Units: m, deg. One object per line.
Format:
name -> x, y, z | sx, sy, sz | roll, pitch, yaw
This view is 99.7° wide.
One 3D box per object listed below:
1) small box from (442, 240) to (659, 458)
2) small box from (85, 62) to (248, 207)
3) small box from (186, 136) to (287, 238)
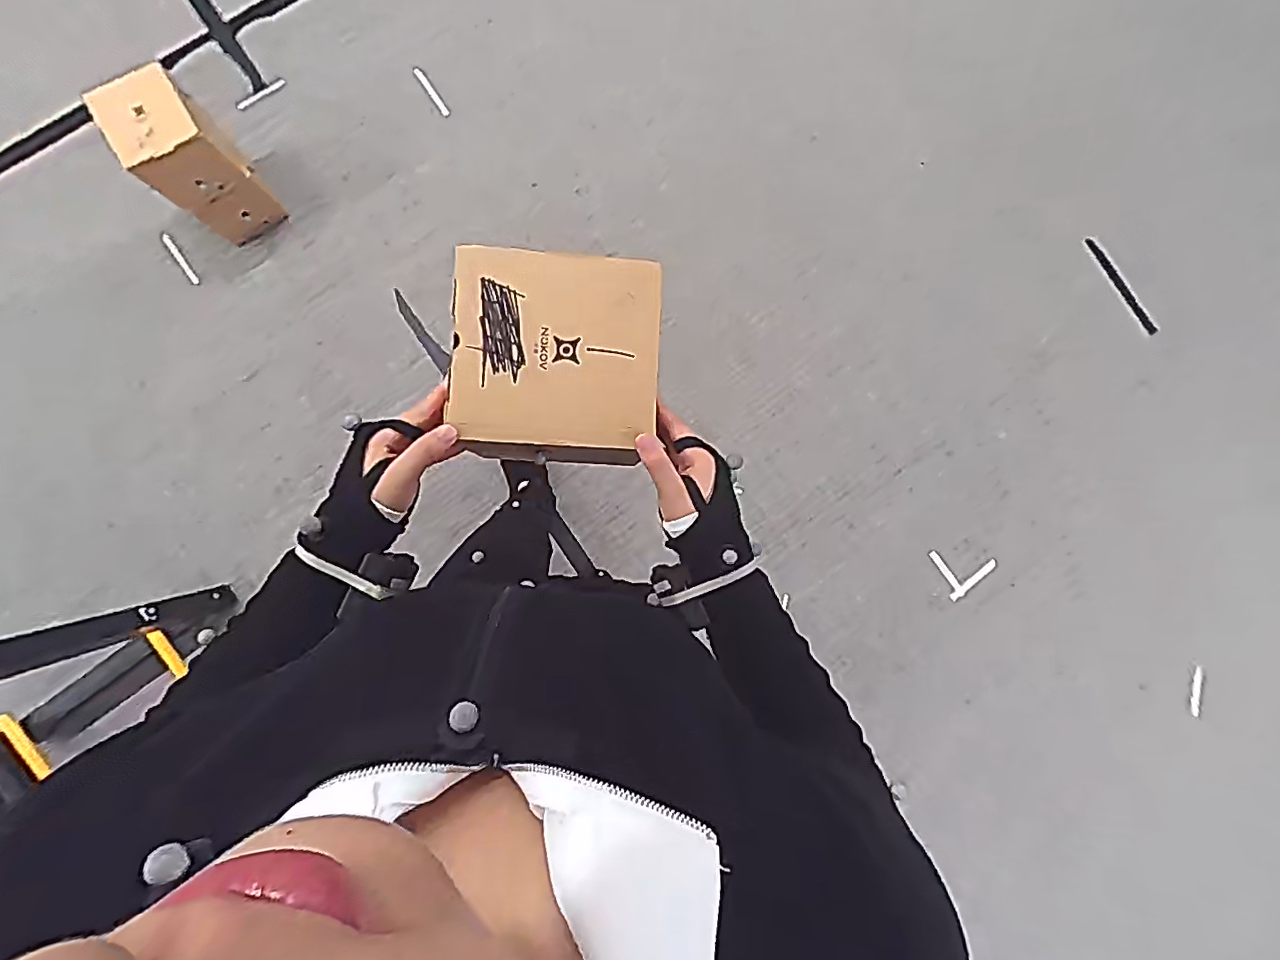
small box -> -0.081, -0.112, 0.534 | 0.179, 0.176, 0.168 | 3, 87, -6
small box -> -1.021, -0.744, 1.183 | 0.168, 0.176, 0.179 | -30, 91, -5
small box -> -1.036, -0.736, 1.348 | 0.168, 0.176, 0.179 | -36, 92, -5
